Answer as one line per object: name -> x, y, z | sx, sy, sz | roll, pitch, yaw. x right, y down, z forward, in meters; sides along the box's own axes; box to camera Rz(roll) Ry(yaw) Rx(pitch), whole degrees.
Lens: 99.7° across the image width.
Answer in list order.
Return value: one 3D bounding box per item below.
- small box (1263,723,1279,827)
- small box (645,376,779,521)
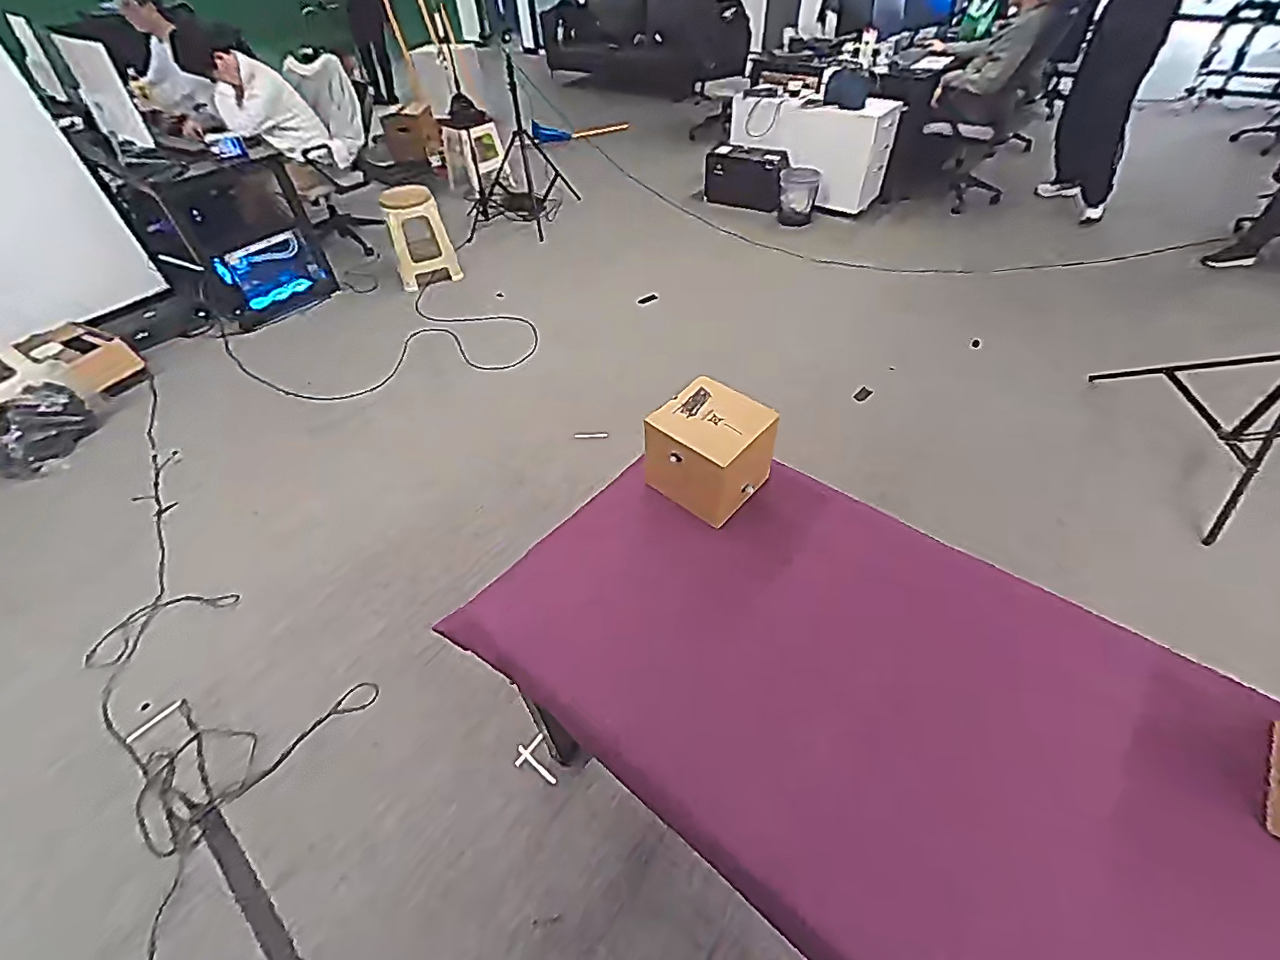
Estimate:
small box -> 0.851, 0.345, 0.586 | 0.179, 0.176, 0.168 | 31, 56, 27
small box -> 0.127, -0.056, 0.994 | 0.179, 0.176, 0.168 | 33, 58, 27
